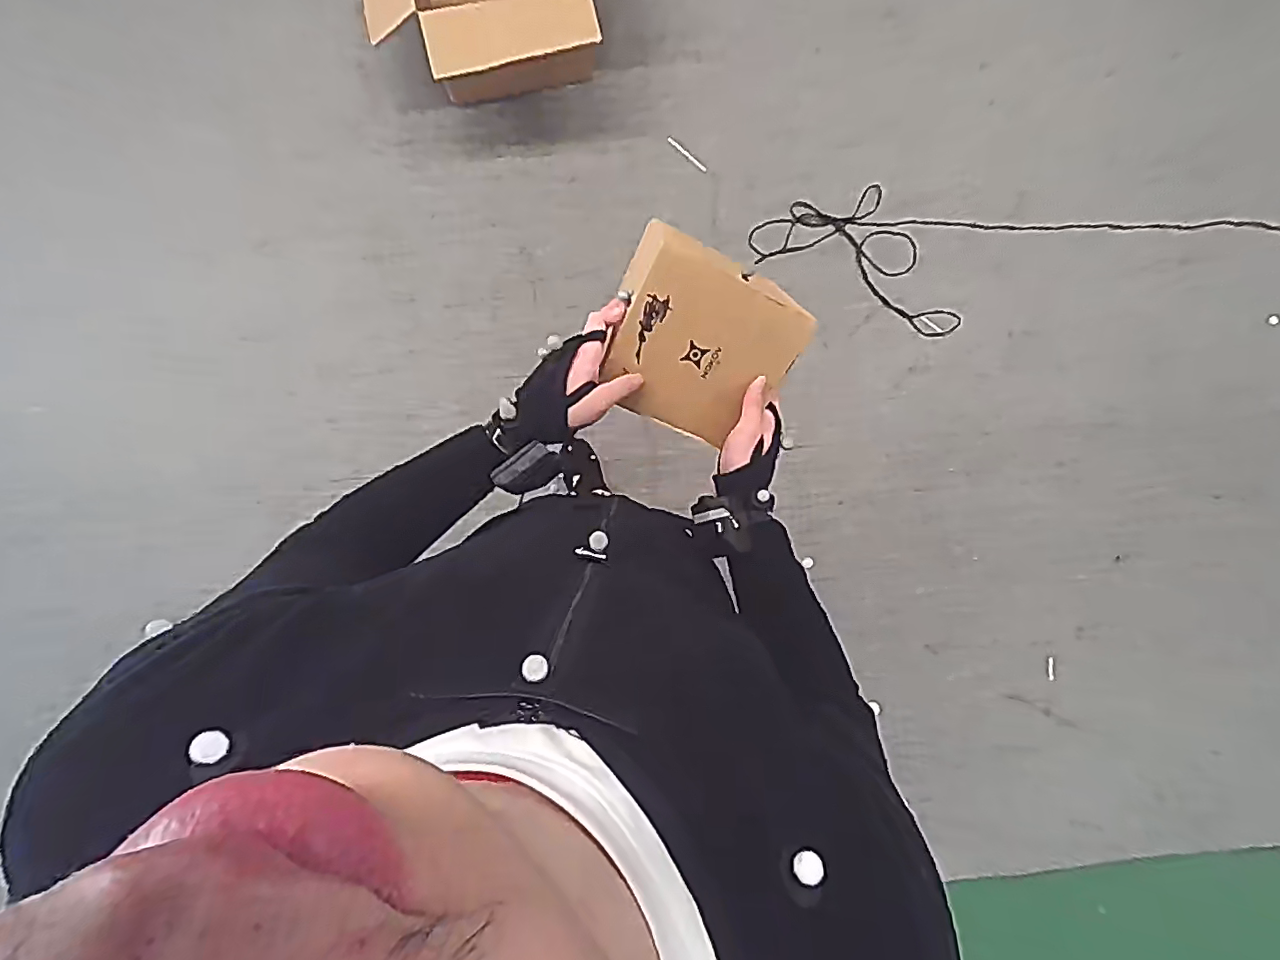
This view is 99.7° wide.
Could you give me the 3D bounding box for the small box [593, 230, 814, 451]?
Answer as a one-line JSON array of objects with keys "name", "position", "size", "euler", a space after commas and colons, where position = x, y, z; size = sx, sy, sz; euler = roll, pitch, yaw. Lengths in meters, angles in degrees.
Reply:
[{"name": "small box", "position": [0.058, -0.165, 0.616], "size": [0.179, 0.176, 0.168], "euler": [21, 117, -15]}]
